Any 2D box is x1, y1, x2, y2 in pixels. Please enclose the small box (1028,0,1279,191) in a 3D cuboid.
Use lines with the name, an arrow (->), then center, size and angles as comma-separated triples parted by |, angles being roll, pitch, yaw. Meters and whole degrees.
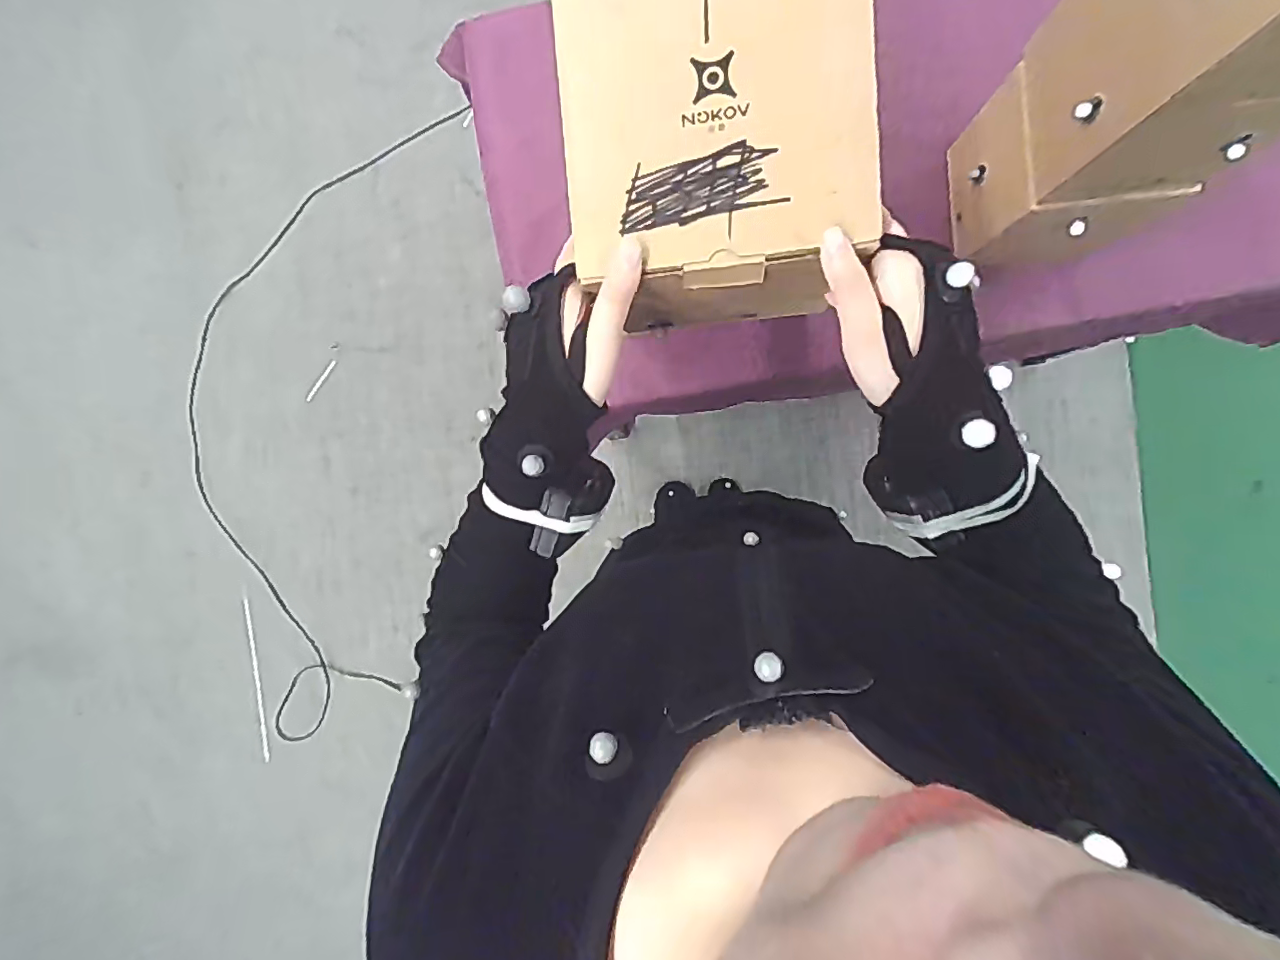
small box -> 0.492, -0.389, 0.493 | 0.168, 0.176, 0.179 | -4, 89, 5

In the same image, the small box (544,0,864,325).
small box -> 0.046, -0.209, 0.365 | 0.168, 0.176, 0.179 | -4, 94, 10

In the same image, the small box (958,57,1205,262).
small box -> 0.509, -0.381, 0.655 | 0.179, 0.176, 0.168 | -4, 90, 6

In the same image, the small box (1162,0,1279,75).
small box -> 0.473, -0.388, 0.329 | 0.168, 0.176, 0.179 | -5, 90, 4
